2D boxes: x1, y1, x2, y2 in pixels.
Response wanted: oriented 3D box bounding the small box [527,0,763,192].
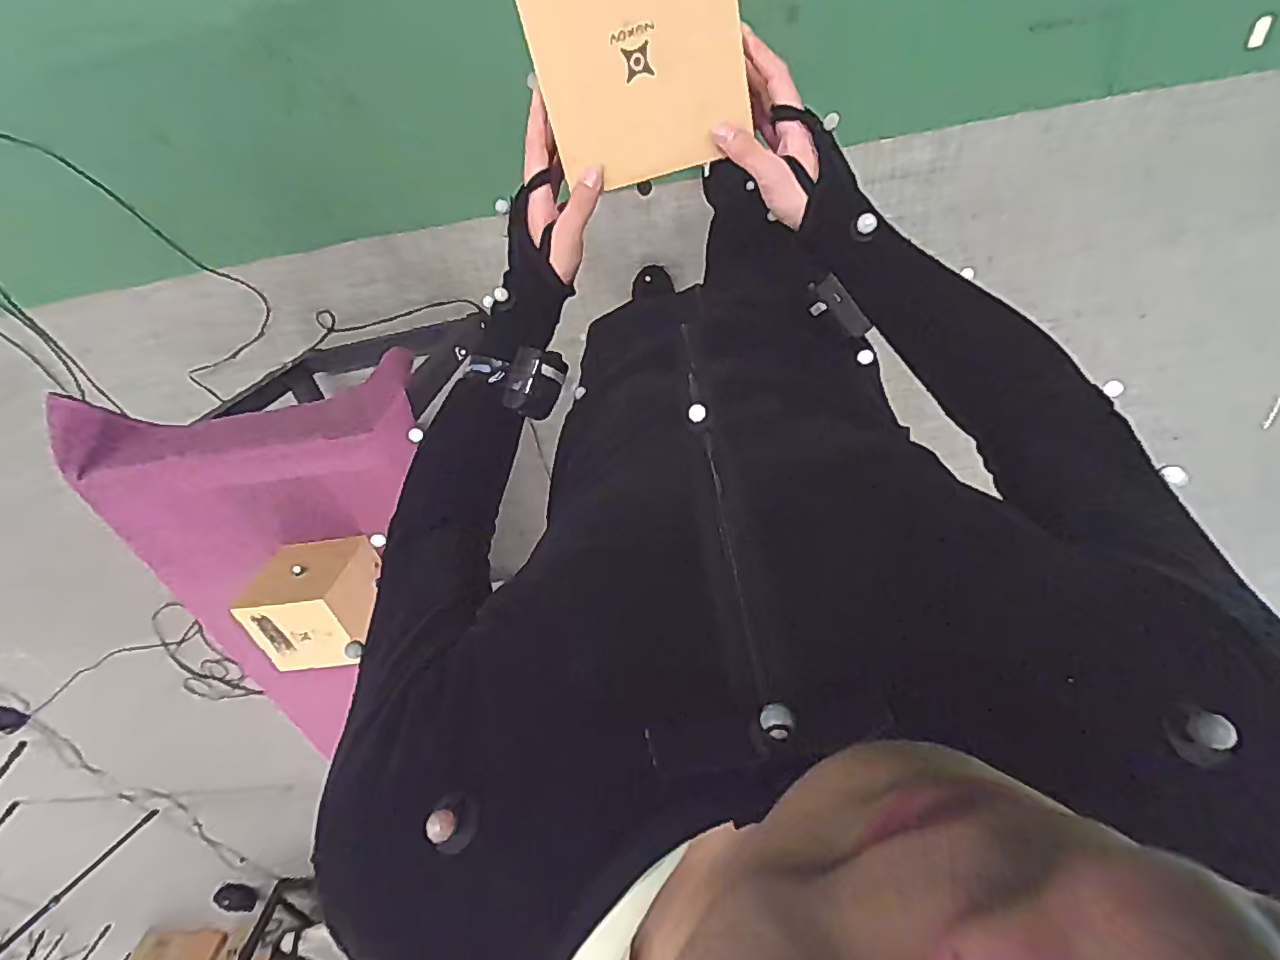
[{"bbox_3d":[0.010,-0.381,0.486,0.168,0.176,0.179,-11,120,11],"label":"small box"}]
